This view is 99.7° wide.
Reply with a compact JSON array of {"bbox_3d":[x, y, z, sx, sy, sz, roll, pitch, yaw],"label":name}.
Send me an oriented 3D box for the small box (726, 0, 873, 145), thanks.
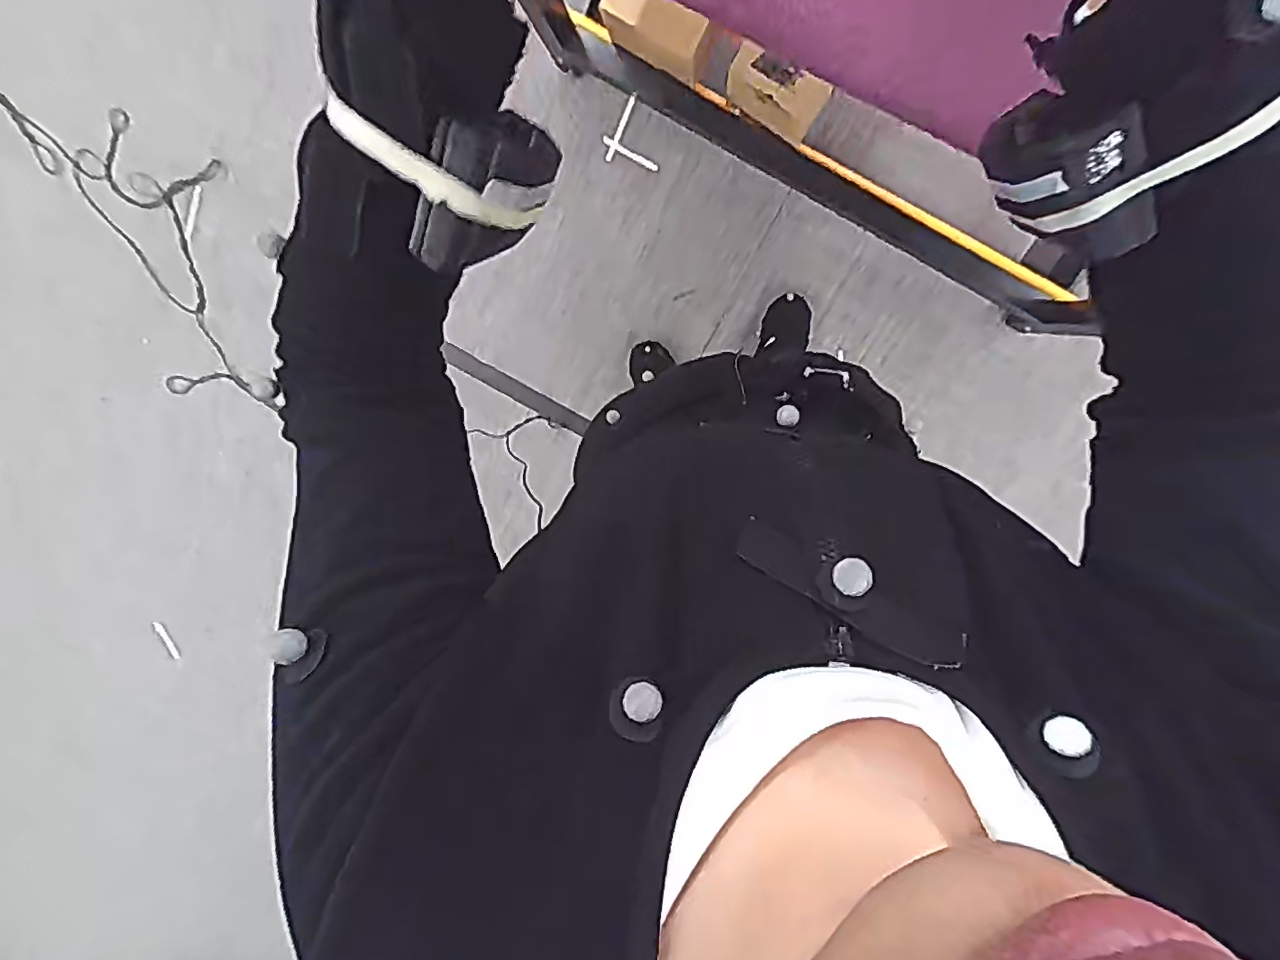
[{"bbox_3d":[0.267,-0.732,0.951,0.168,0.176,0.179,33,108,-6],"label":"small box"}]
